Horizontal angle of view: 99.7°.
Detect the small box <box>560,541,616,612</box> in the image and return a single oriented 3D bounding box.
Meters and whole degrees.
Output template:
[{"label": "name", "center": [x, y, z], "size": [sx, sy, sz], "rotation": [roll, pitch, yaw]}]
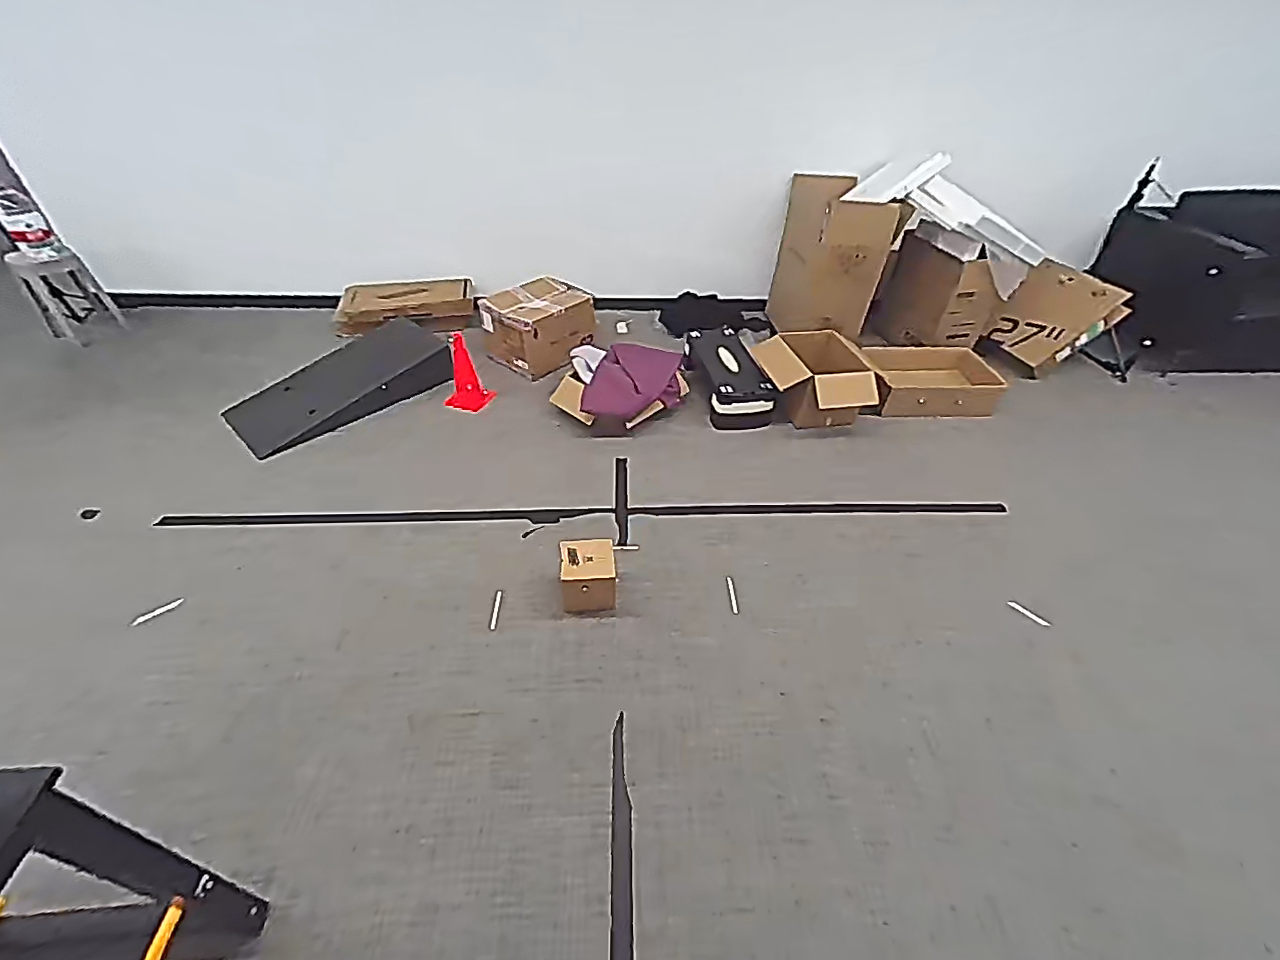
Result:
[{"label": "small box", "center": [-0.172, 0.325, 1.804], "size": [0.179, 0.176, 0.168], "rotation": [-2, 41, -6]}]
